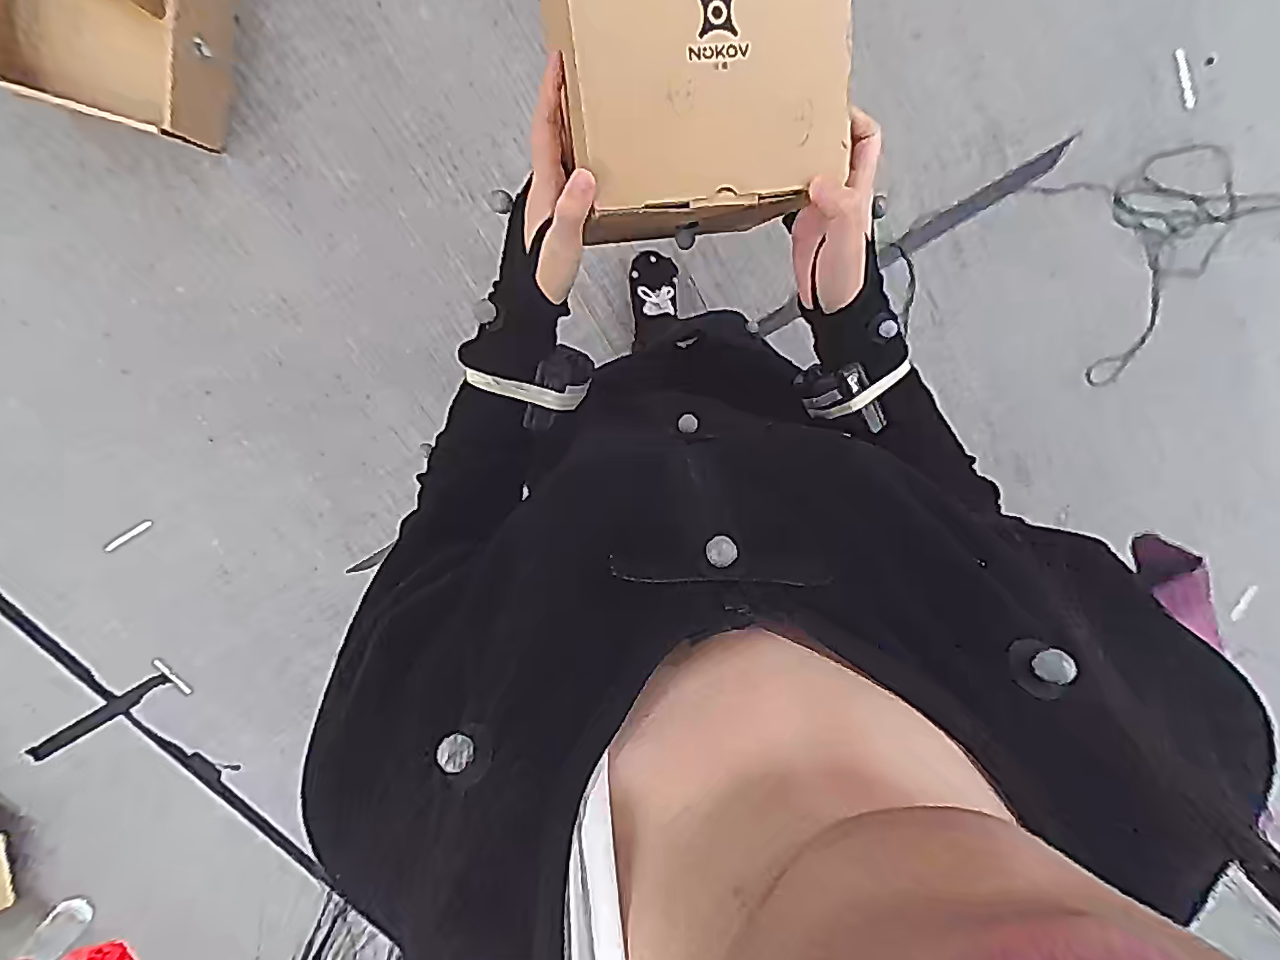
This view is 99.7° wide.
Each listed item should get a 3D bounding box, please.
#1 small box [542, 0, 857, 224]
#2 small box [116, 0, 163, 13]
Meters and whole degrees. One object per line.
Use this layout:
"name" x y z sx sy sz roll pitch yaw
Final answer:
"small box" 0.028 -0.283 0.373 0.168 0.176 0.179 -10 109 -9
"small box" -1.025 -1.016 0.992 0.179 0.176 0.168 17 106 -9
